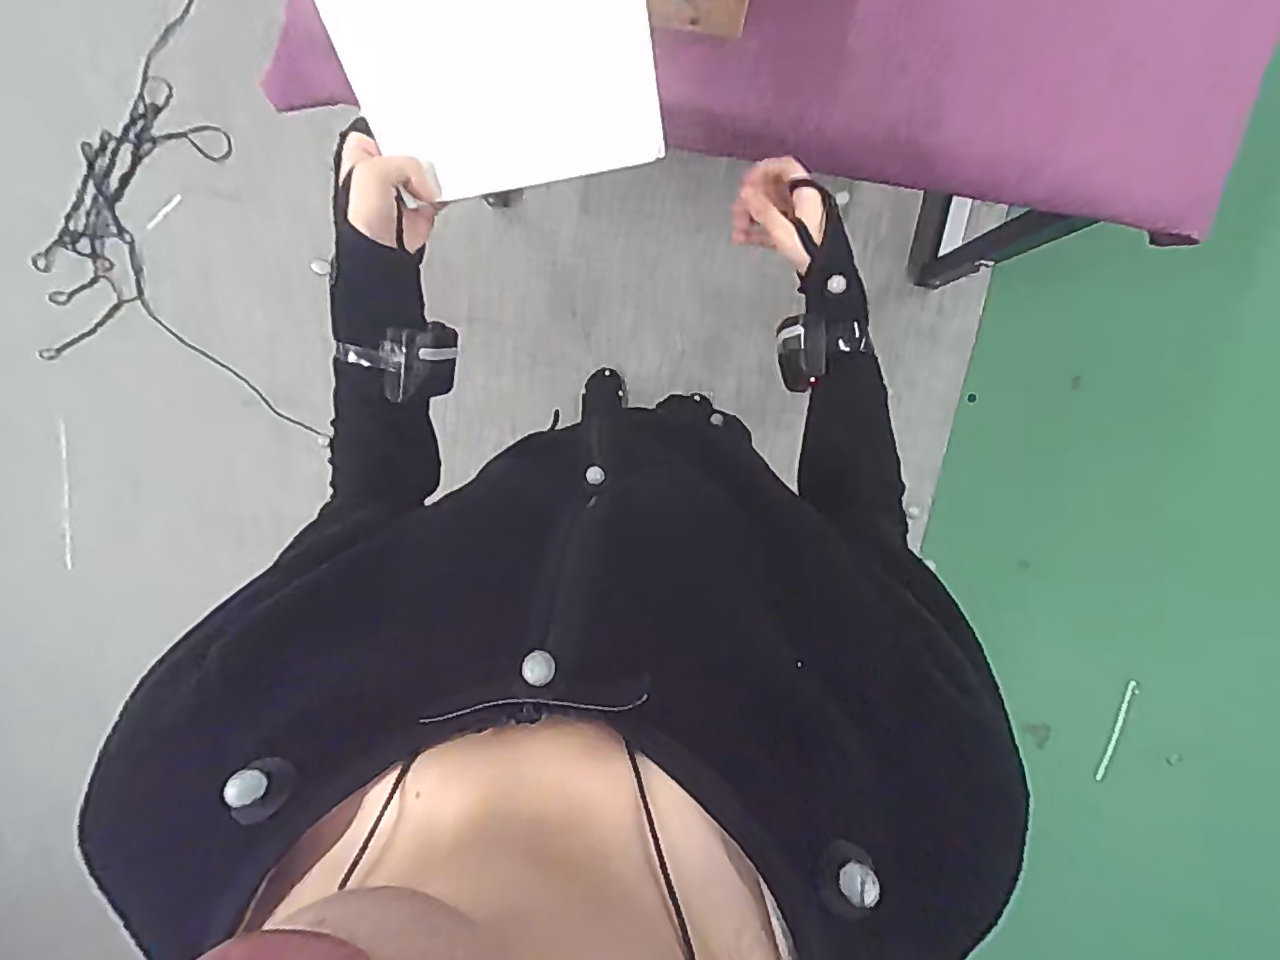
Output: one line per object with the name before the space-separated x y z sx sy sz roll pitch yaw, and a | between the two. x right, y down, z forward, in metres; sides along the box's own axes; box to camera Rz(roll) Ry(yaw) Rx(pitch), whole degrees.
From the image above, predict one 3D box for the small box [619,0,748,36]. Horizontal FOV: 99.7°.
small box | 0.057 -0.642 0.594 0.168 0.176 0.179 11 100 1
